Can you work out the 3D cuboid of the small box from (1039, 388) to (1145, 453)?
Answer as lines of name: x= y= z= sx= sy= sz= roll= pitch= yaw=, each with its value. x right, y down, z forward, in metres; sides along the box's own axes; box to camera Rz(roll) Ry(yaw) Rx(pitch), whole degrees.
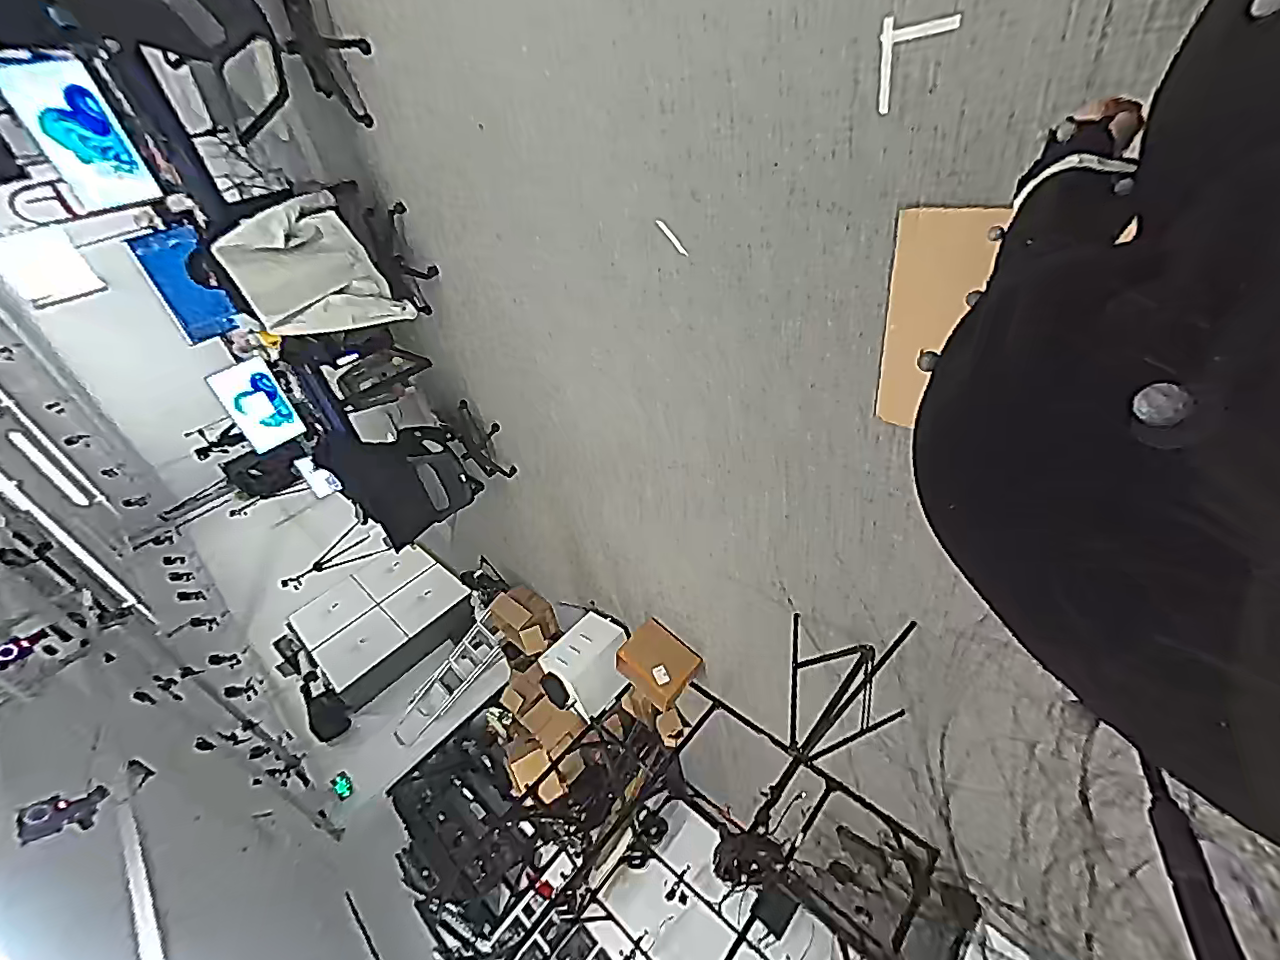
small box: x=1.025 y=-0.096 z=1.240 sx=0.168 sy=0.176 sz=0.179 roll=17 pitch=135 yaw=43
